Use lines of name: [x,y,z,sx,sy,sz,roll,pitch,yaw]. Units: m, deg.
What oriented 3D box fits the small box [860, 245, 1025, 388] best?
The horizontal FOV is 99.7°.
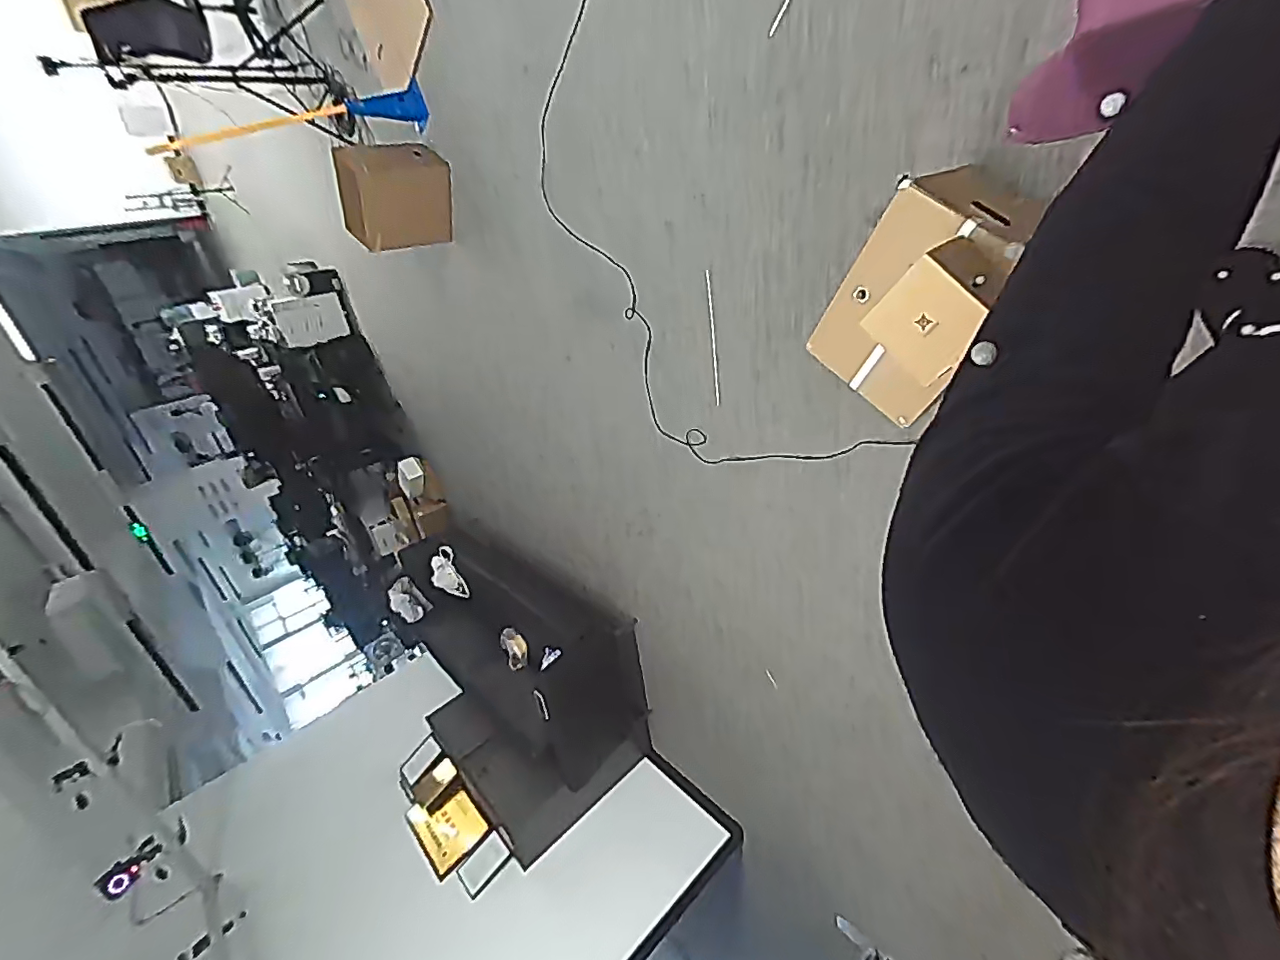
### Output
small box: [0.551,-0.305,0.988,0.179,0.176,0.168,49,144,10]
